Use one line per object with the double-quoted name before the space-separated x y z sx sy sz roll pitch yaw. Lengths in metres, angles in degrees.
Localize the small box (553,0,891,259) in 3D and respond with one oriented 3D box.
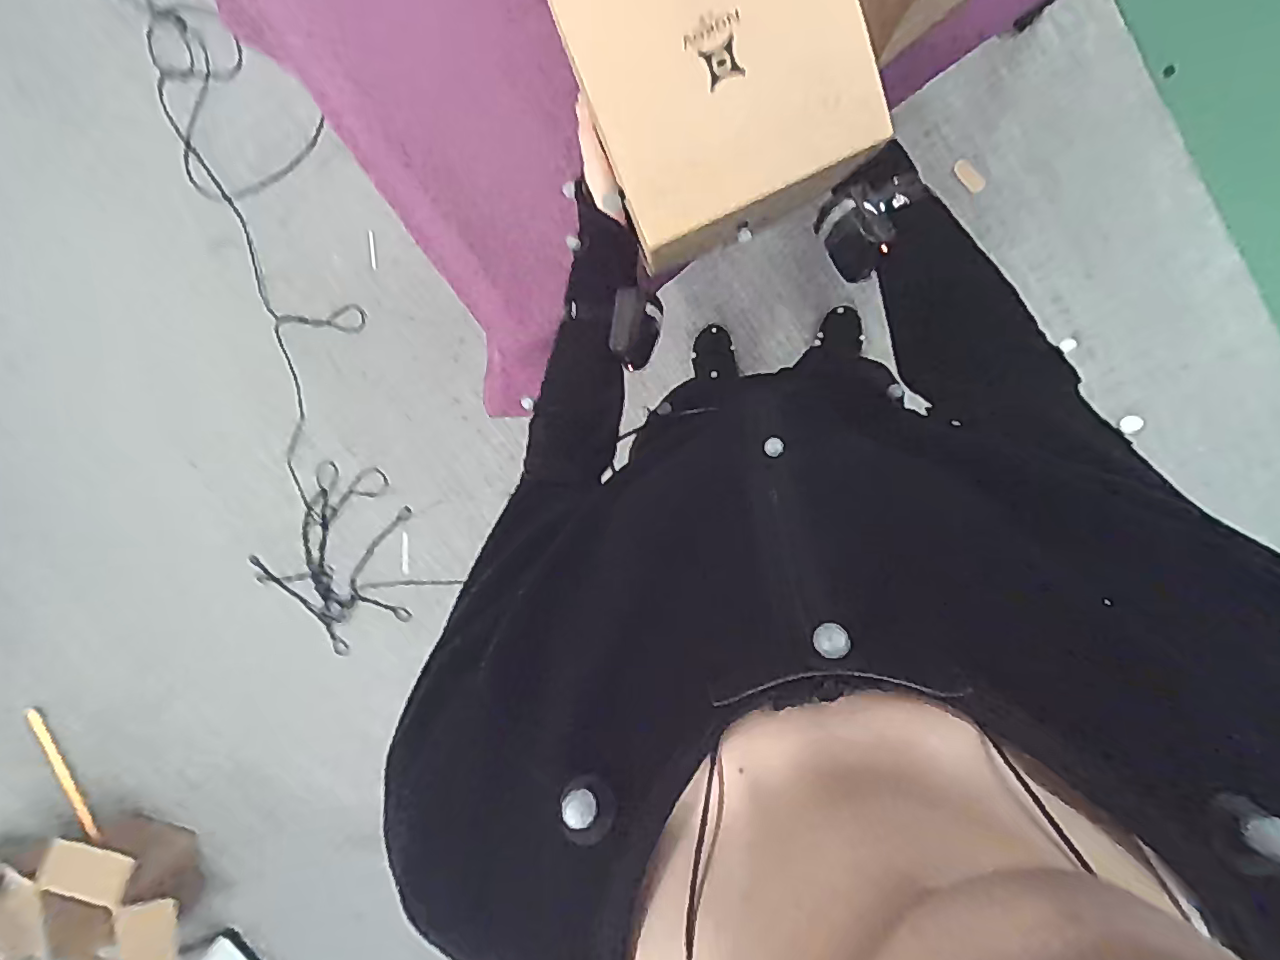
"small box" 0.052 -0.279 0.396 0.168 0.176 0.179 -21 102 9
